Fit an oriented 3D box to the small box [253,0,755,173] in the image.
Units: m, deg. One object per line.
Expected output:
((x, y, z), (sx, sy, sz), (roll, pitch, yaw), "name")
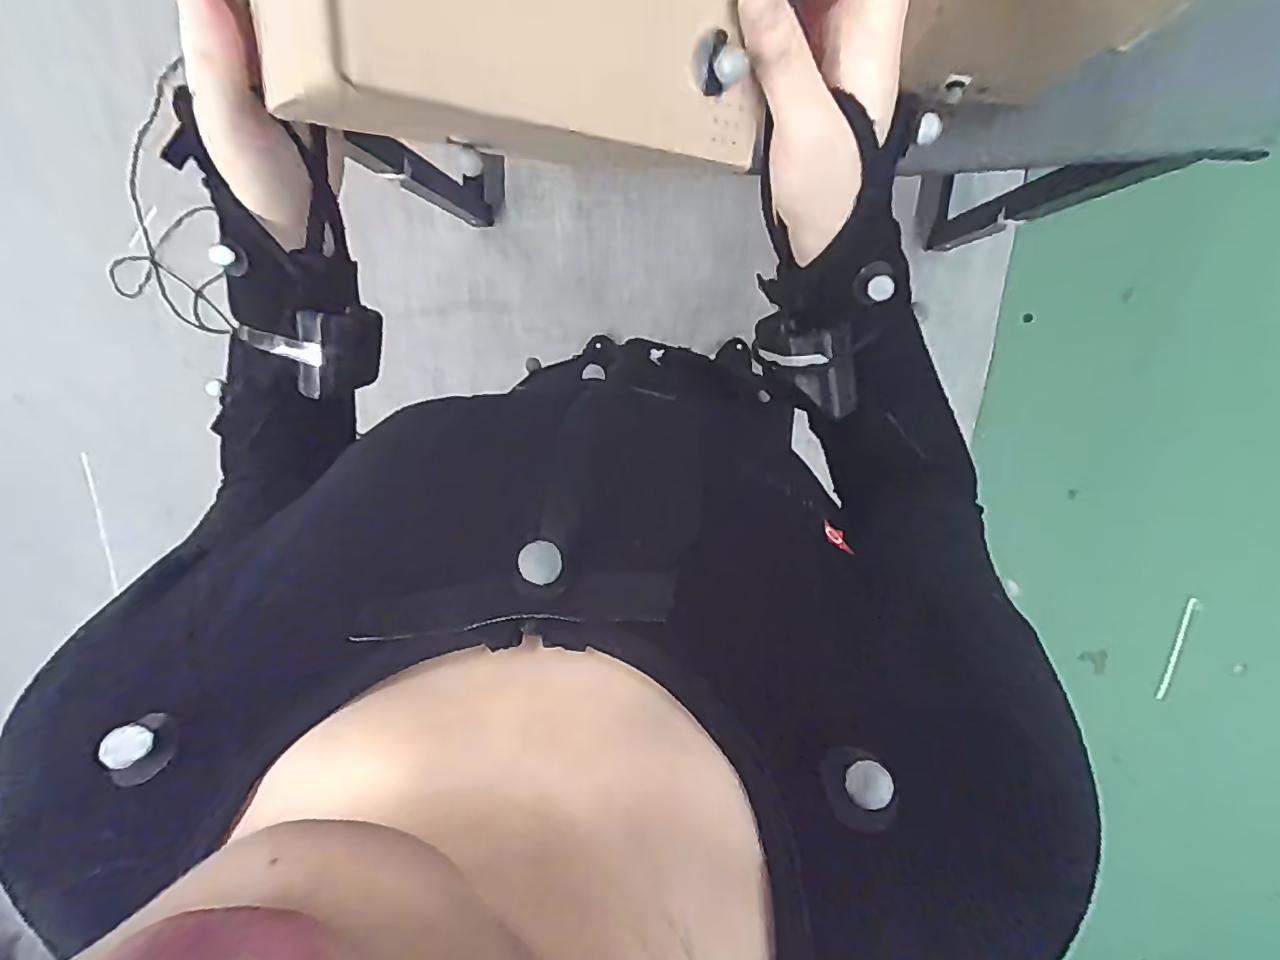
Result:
((-0.059, -0.232, 0.224), (0.176, 0.179, 0.168), (-15, 125, -34), "small box")

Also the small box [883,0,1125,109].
((0.351, -0.489, 0.511), (0.168, 0.176, 0.179), (6, 104, 4), "small box")
